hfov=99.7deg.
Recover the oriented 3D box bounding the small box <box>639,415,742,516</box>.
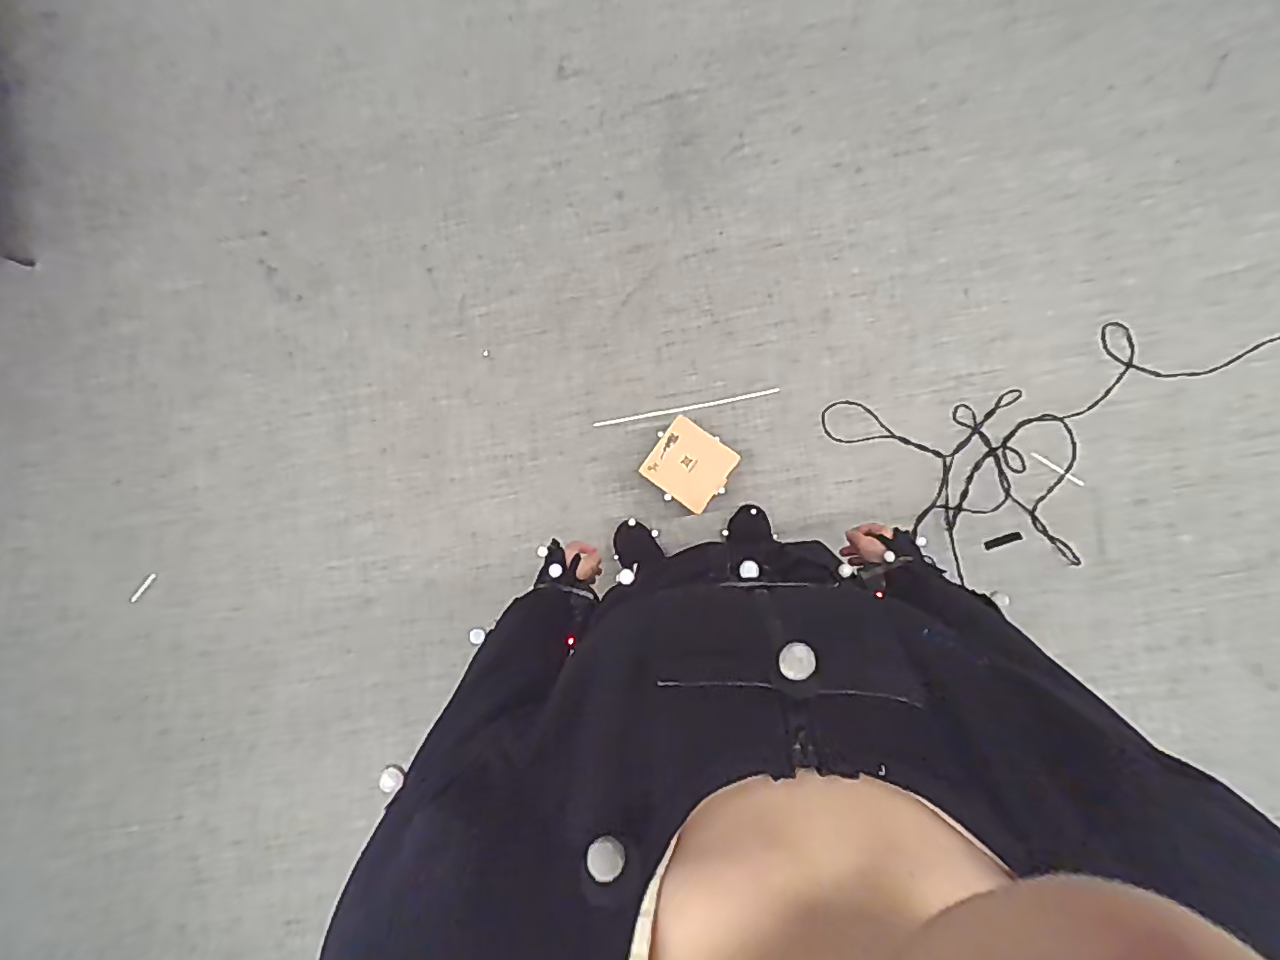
[{"bbox_3d":[0.120,-0.033,1.289,0.179,0.176,0.168,36,91,5],"label":"small box"}]
